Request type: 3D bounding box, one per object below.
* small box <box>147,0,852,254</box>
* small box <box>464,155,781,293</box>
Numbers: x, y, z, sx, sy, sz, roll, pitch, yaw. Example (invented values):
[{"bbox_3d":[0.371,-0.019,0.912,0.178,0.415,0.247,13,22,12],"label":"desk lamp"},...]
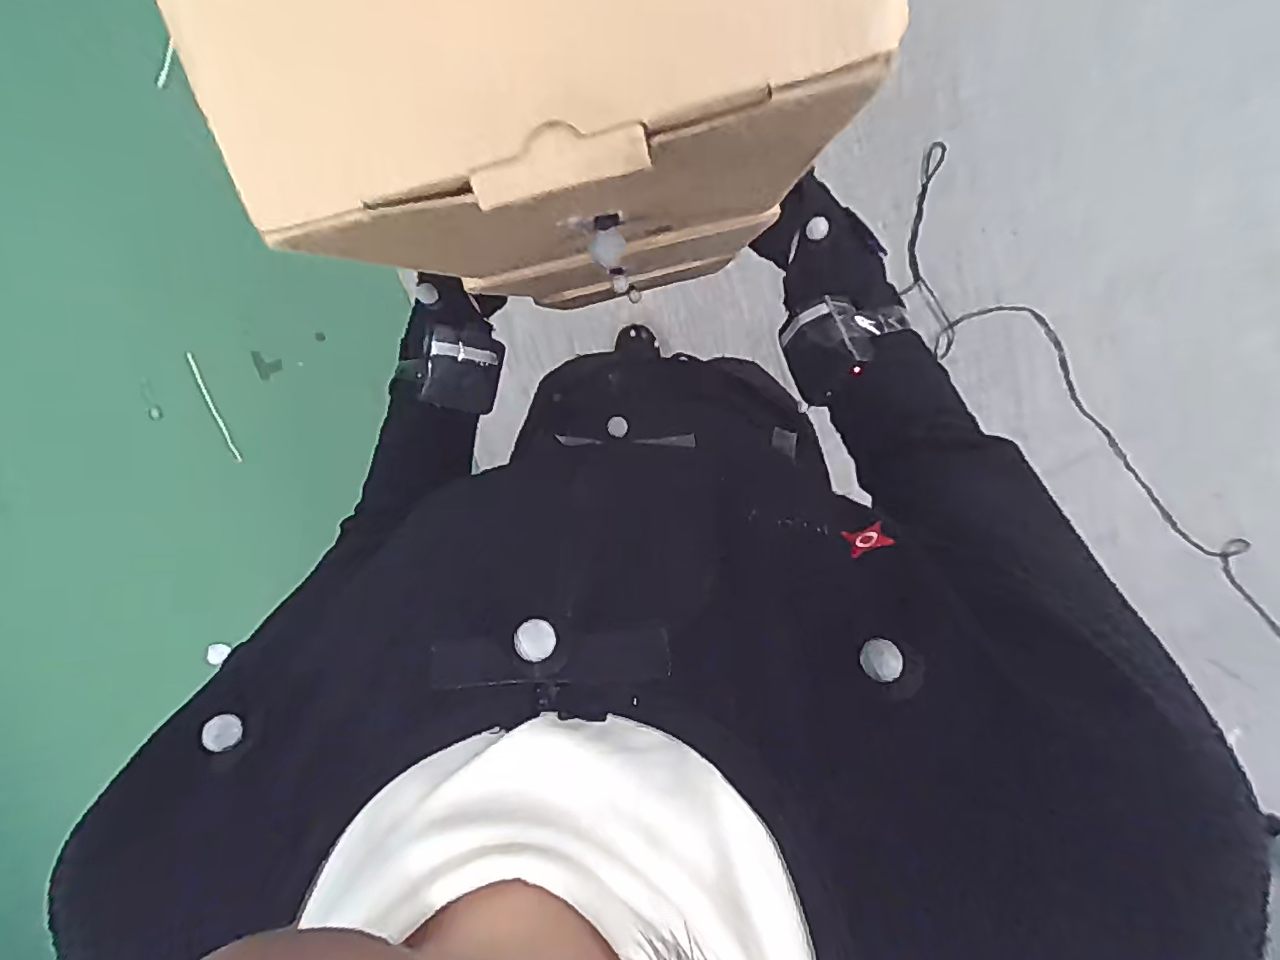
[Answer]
[{"bbox_3d":[-0.038,-0.185,0.187,0.168,0.176,0.179,-10,107,7],"label":"small box"},{"bbox_3d":[-0.025,-0.224,0.345,0.179,0.176,0.168,-13,107,7],"label":"small box"}]
